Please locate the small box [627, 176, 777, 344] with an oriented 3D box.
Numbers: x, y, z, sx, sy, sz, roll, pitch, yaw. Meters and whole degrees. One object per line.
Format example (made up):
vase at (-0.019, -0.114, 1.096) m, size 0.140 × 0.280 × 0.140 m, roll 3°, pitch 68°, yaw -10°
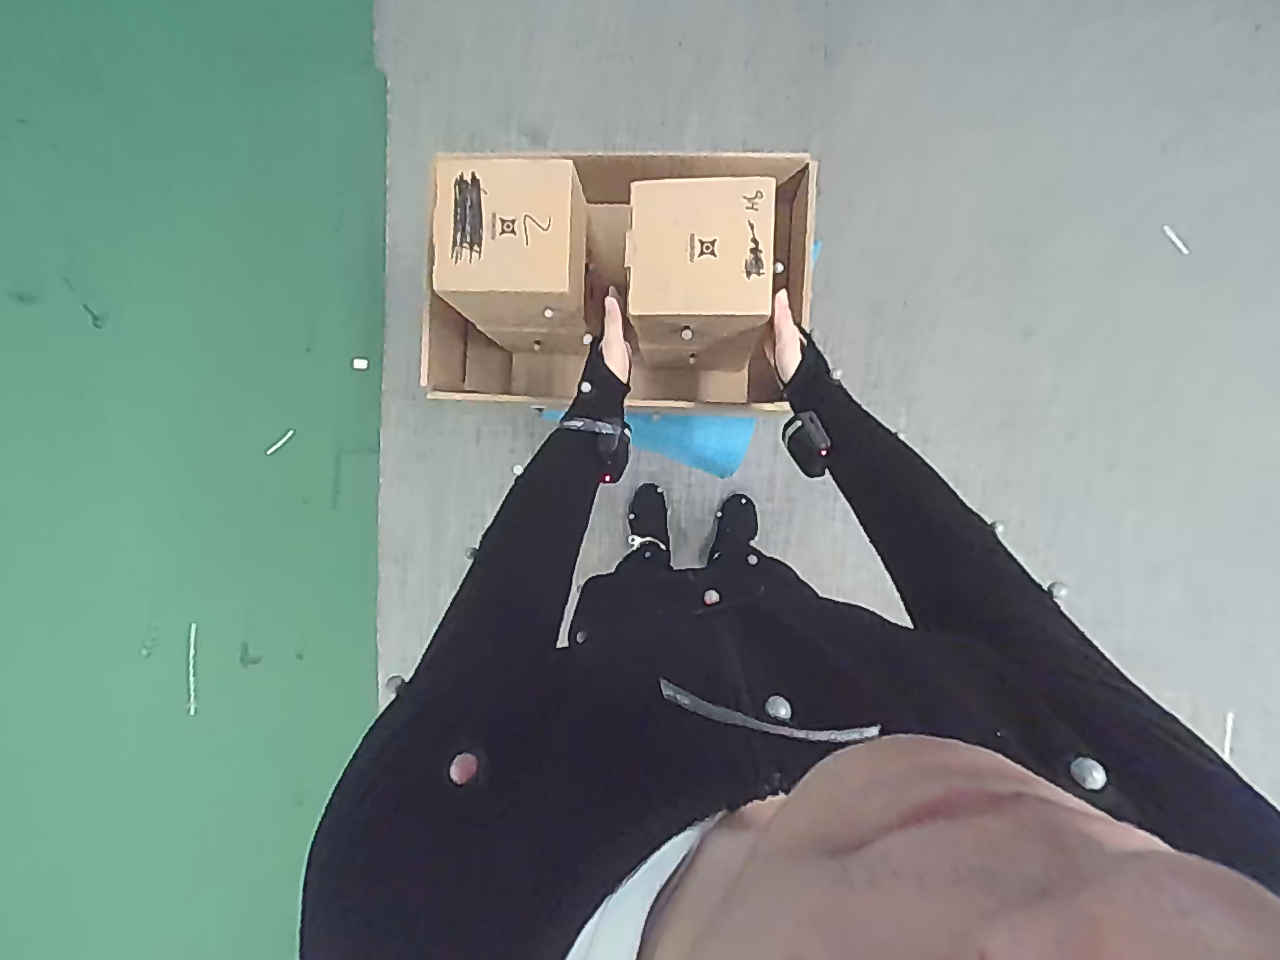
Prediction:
small box at (0.084, -0.284, 0.732) m, size 0.179 × 0.176 × 0.168 m, roll 2°, pitch 92°, yaw 7°
